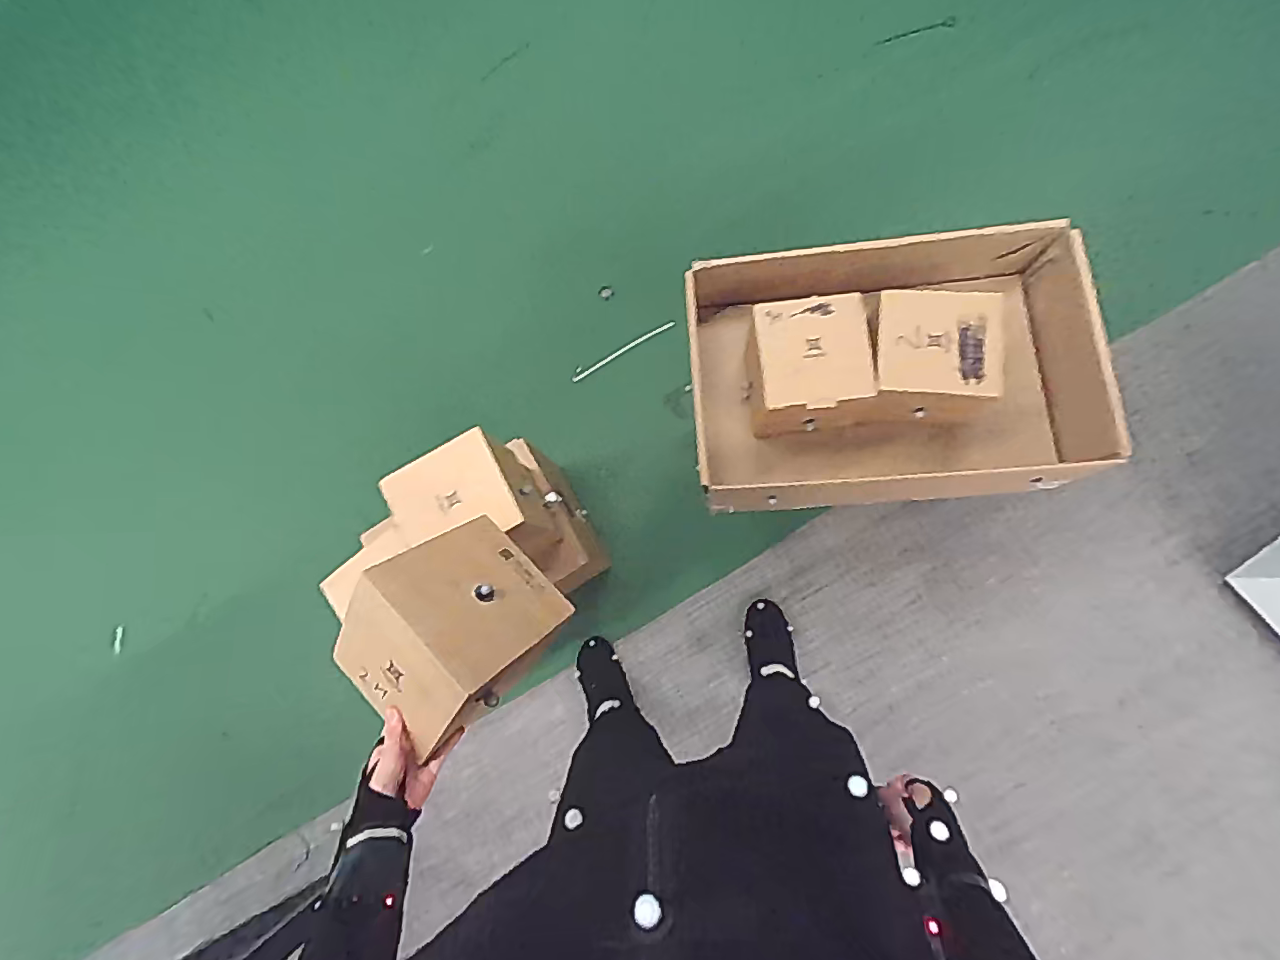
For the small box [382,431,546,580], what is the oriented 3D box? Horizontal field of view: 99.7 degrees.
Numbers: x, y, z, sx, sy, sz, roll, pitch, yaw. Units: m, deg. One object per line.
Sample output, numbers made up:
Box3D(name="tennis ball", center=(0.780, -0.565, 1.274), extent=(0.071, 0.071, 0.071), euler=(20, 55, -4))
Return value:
Box3D(name="small box", center=(-0.269, 0.047, 0.876), extent=(0.179, 0.176, 0.168), euler=(-30, 78, 2))
